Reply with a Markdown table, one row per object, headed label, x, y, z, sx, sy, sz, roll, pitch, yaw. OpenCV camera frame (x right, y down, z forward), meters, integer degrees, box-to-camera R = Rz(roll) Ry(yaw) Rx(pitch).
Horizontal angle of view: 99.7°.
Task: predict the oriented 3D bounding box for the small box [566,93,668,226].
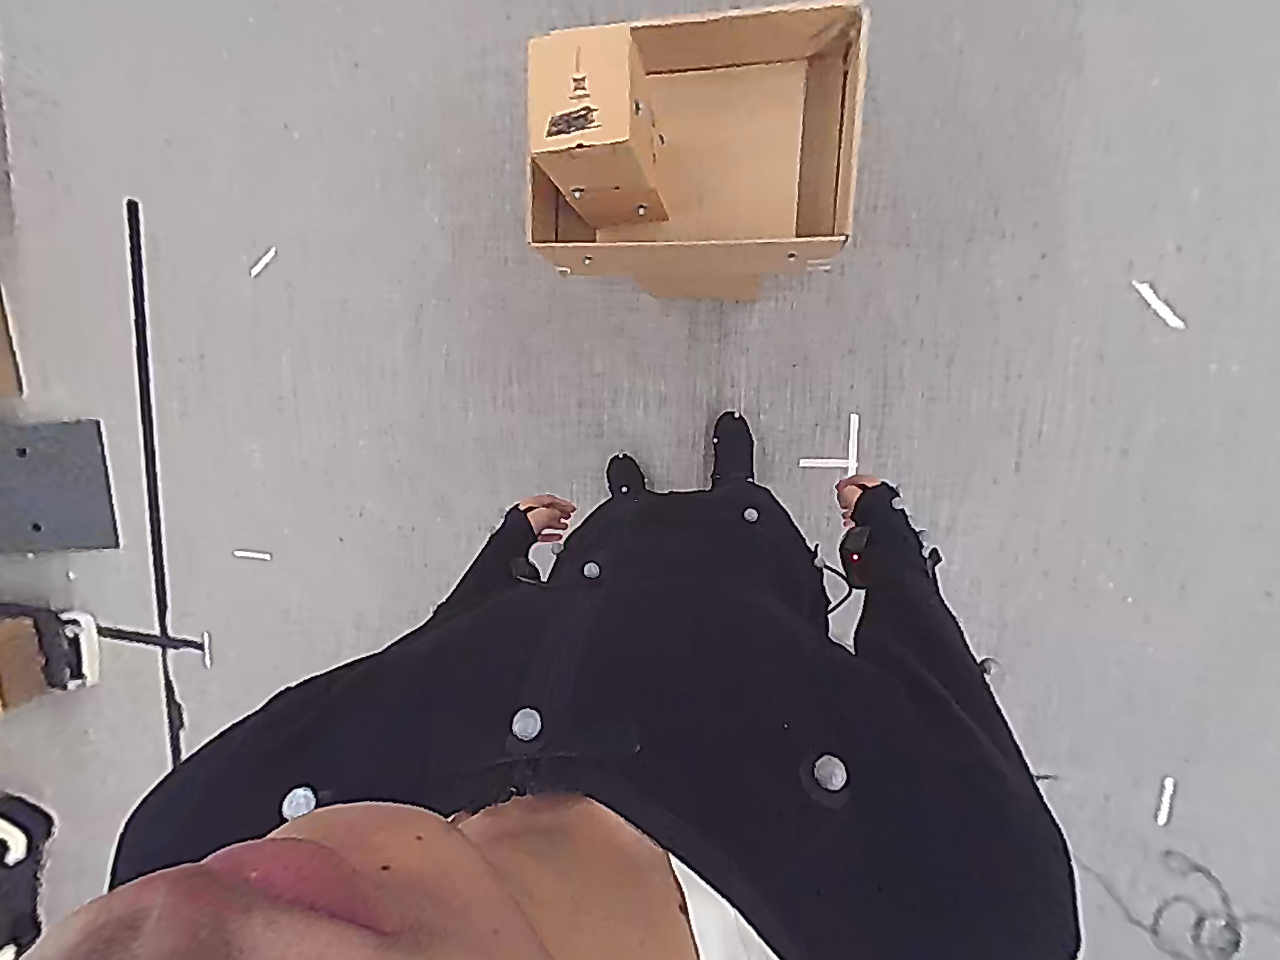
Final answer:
| label | x | y | z | sx | sy | sz | roll | pitch | yaw |
| --- | --- | --- | --- | --- | --- | --- | --- | --- | --- |
| small box | -0.039 | -0.621 | 1.071 | 0.179 | 0.176 | 0.168 | 0 | 96 | 13 |

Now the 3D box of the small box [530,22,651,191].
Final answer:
| label | x | y | z | sx | sy | sz | roll | pitch | yaw |
| --- | --- | --- | --- | --- | --- | --- | --- | --- | --- |
| small box | -0.075 | -0.609 | 0.912 | 0.168 | 0.176 | 0.179 | 1 | 95 | 12 |
